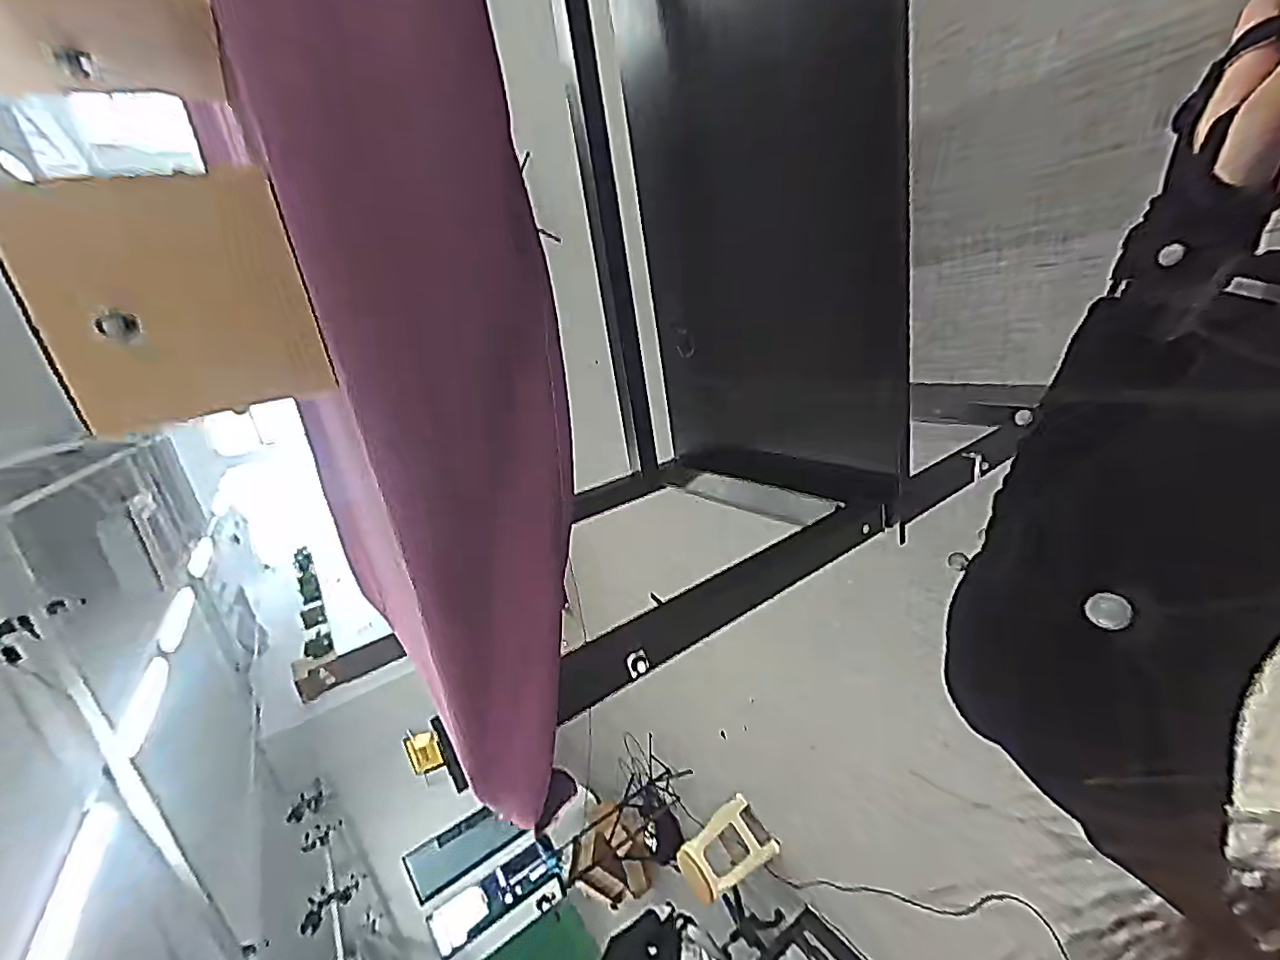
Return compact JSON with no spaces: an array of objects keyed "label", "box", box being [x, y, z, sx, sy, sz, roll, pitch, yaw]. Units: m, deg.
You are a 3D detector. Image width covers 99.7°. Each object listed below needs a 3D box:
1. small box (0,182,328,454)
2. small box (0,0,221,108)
[{"label":"small box","box":[-0.388,-0.141,0.462,0.168,0.176,0.179,22,126,52]},{"label":"small box","box":[-0.421,-0.381,0.372,0.179,0.176,0.168,18,123,55]}]
